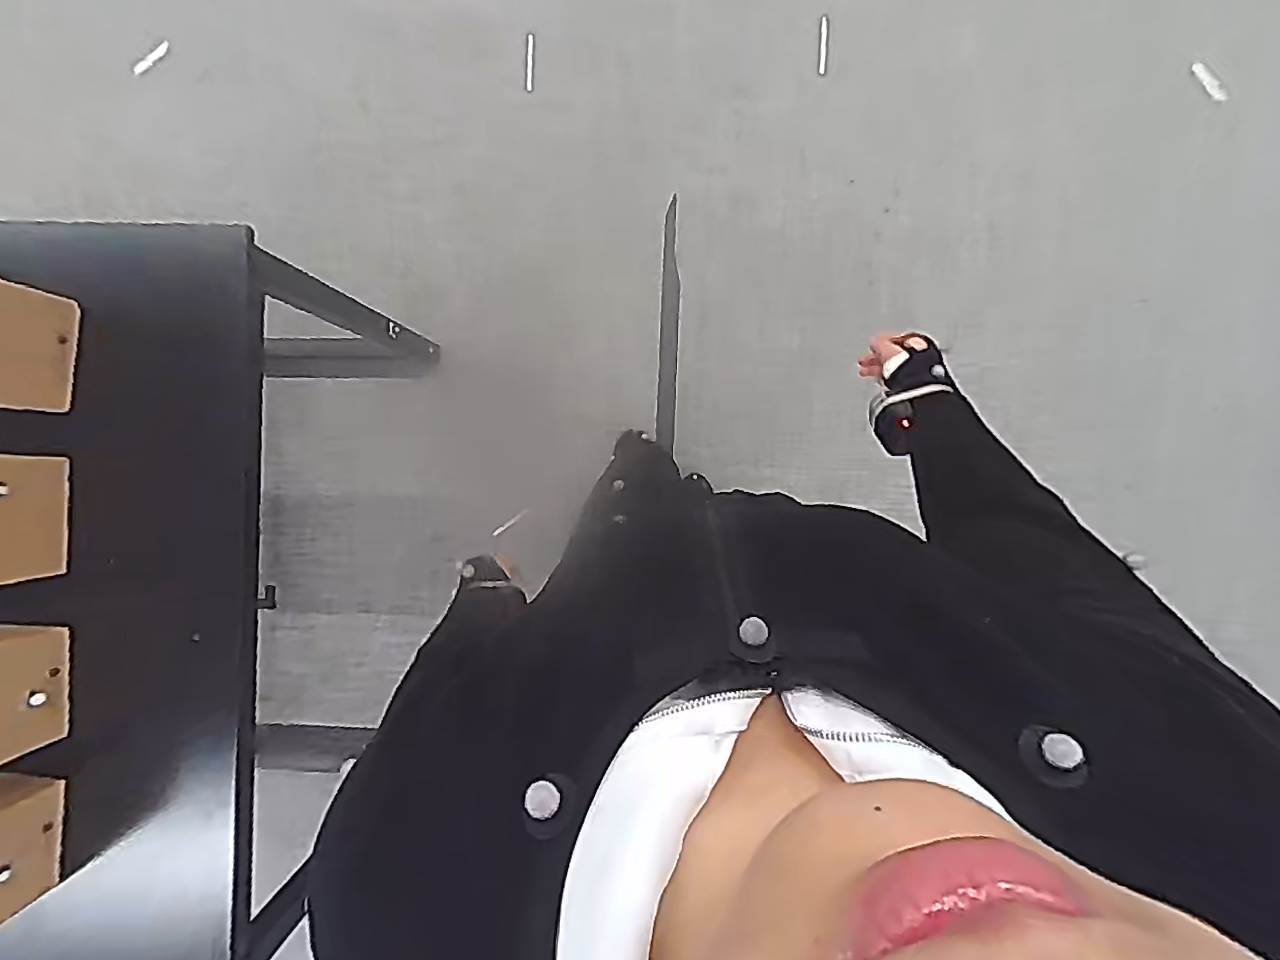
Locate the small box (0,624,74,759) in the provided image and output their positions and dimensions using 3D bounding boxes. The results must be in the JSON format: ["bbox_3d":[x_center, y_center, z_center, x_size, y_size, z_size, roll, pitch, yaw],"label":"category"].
[{"bbox_3d":[-0.942,0.299,0.732,0.179,0.176,0.168,2,91,2],"label":"small box"}]

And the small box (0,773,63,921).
[{"bbox_3d":[-0.955,0.523,0.735,0.179,0.176,0.168,5,90,3],"label":"small box"}]

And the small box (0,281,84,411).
[{"bbox_3d":[-0.924,-0.190,0.726,0.179,0.176,0.168,7,92,3],"label":"small box"}]

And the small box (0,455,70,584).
[{"bbox_3d":[-0.934,0.051,0.731,0.168,0.176,0.179,2,92,4],"label":"small box"}]
